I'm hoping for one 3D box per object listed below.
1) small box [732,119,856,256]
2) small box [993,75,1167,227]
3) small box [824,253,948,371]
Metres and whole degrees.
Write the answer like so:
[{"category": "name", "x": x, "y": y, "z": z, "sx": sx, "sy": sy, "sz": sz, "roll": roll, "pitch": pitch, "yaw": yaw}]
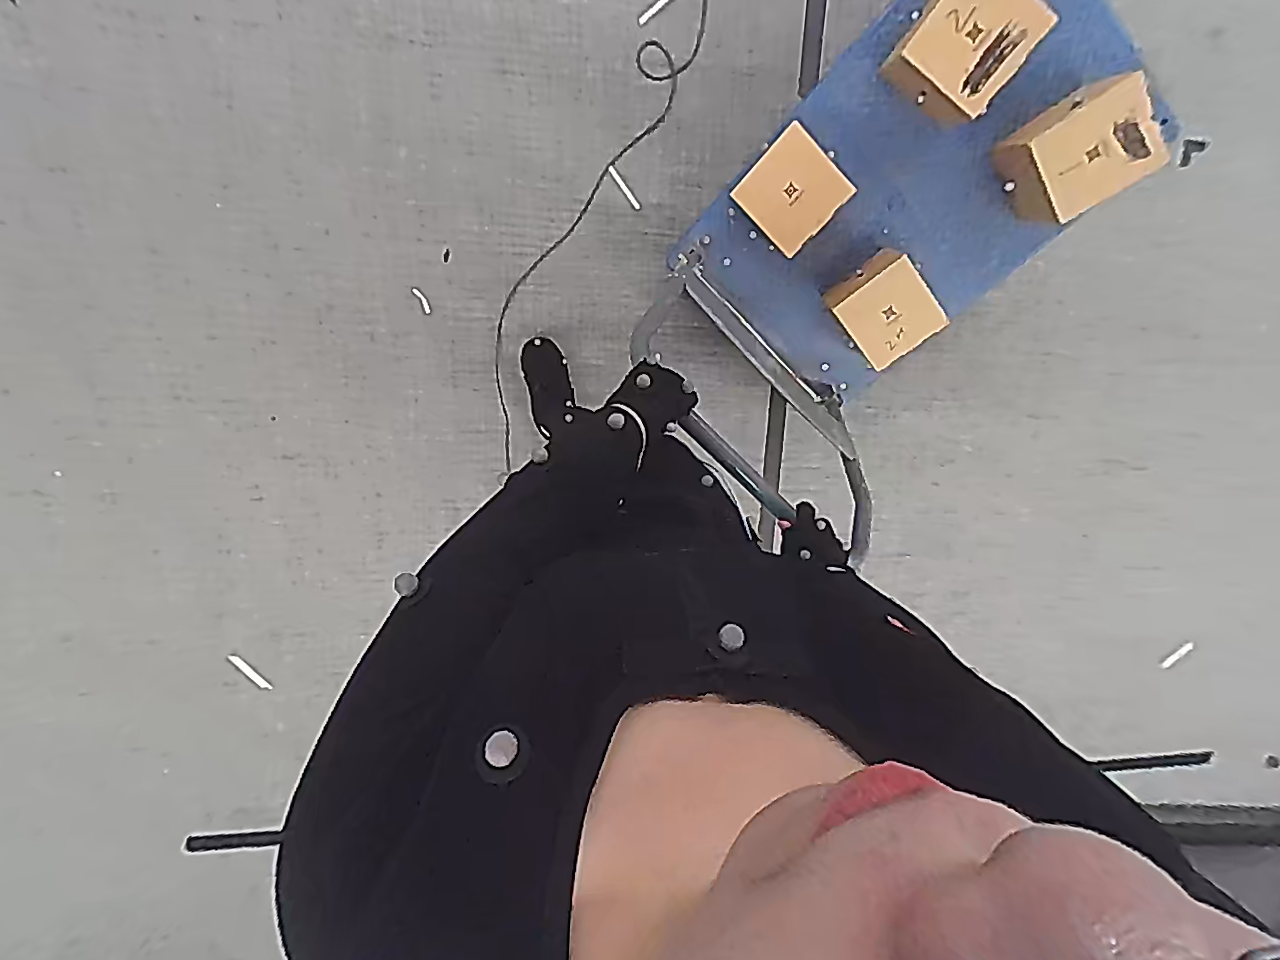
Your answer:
[{"category": "small box", "x": 0.302, "y": -0.587, "z": 1.102, "sx": 0.179, "sy": 0.176, "sz": 0.168, "roll": 40, "pitch": 116, "yaw": -14}, {"category": "small box", "x": 0.808, "y": -0.604, "z": 1.010, "sx": 0.179, "sy": 0.176, "sz": 0.168, "roll": -30, "pitch": 109, "yaw": 23}, {"category": "small box", "x": 0.524, "y": -0.372, "z": 1.177, "sx": 0.168, "sy": 0.176, "sz": 0.179, "roll": -36, "pitch": 106, "yaw": 24}]
